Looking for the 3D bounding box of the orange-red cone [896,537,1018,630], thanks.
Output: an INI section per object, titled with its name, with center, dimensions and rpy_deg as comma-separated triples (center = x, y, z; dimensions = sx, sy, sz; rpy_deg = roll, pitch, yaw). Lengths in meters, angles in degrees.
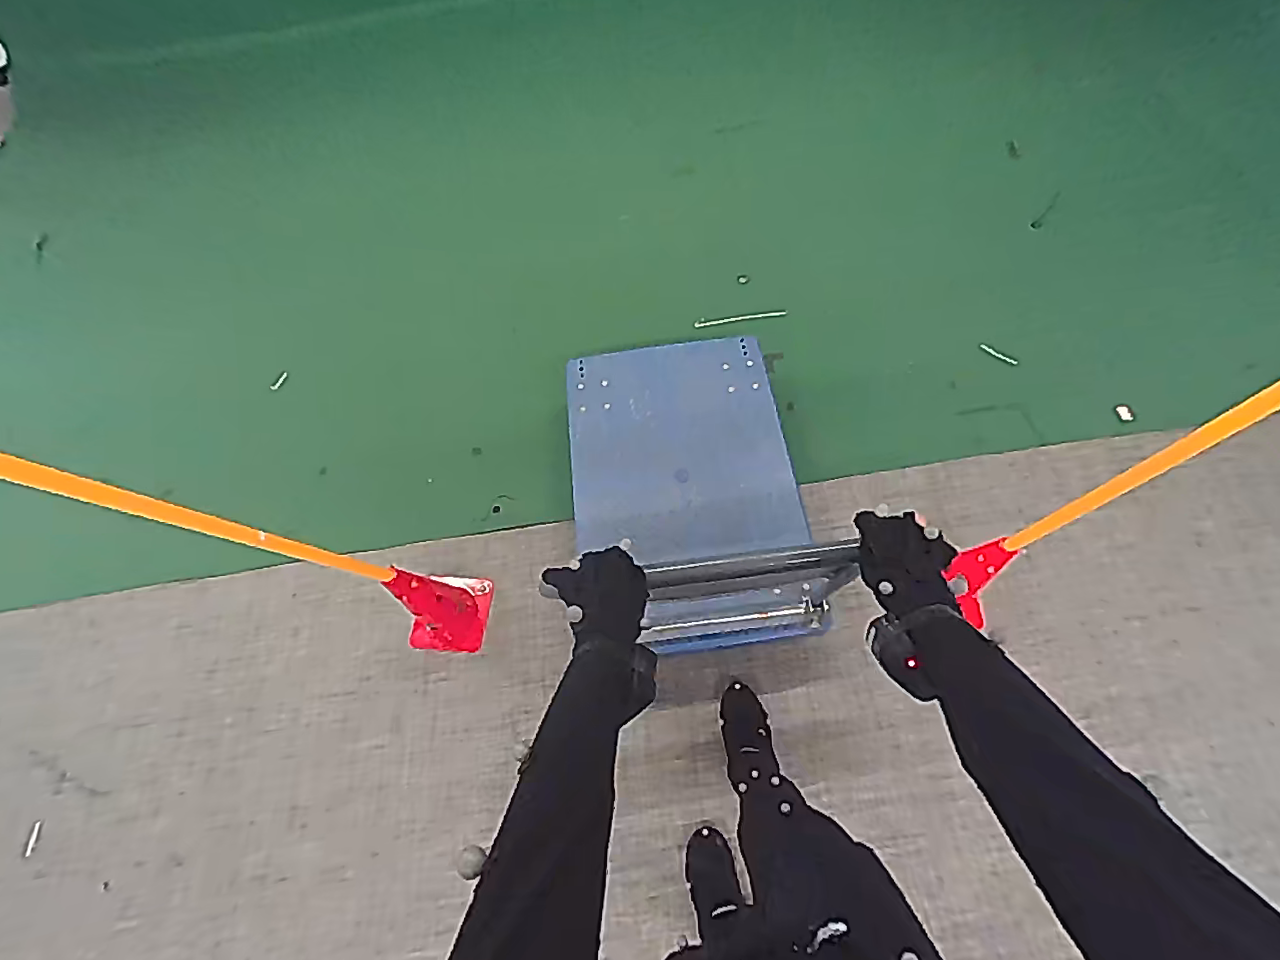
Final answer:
[orange-red cone]
center = 0.763, 0.213, 1.253
dimensions = 0.198, 0.360, 0.199
rpy_deg = 1, 64, 6
